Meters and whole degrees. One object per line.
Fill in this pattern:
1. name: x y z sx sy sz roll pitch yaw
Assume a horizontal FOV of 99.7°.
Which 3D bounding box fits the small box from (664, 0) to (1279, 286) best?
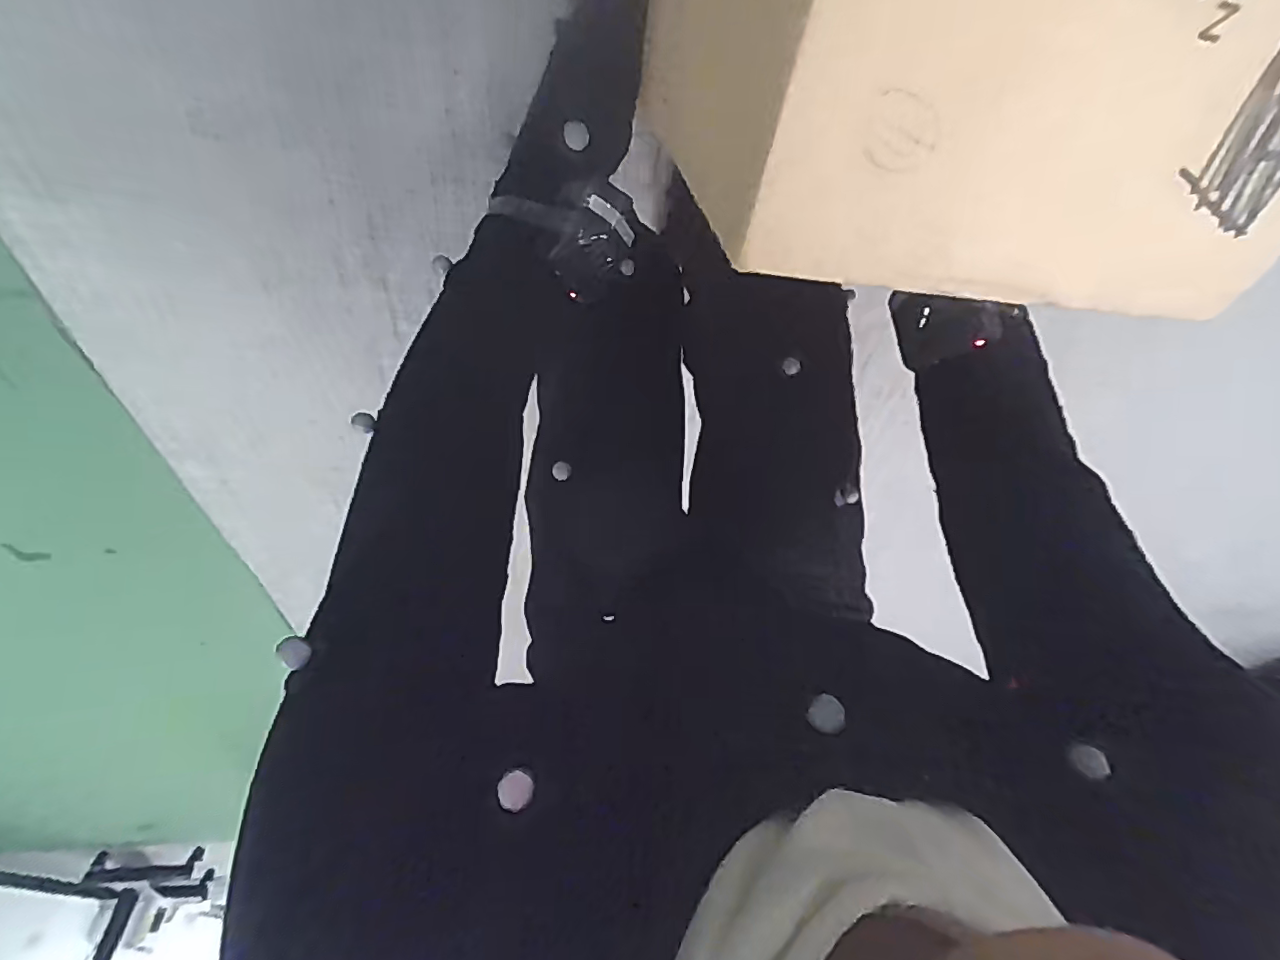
1. small box: 0.116 -0.183 0.181 0.179 0.176 0.168 -1 135 -10
